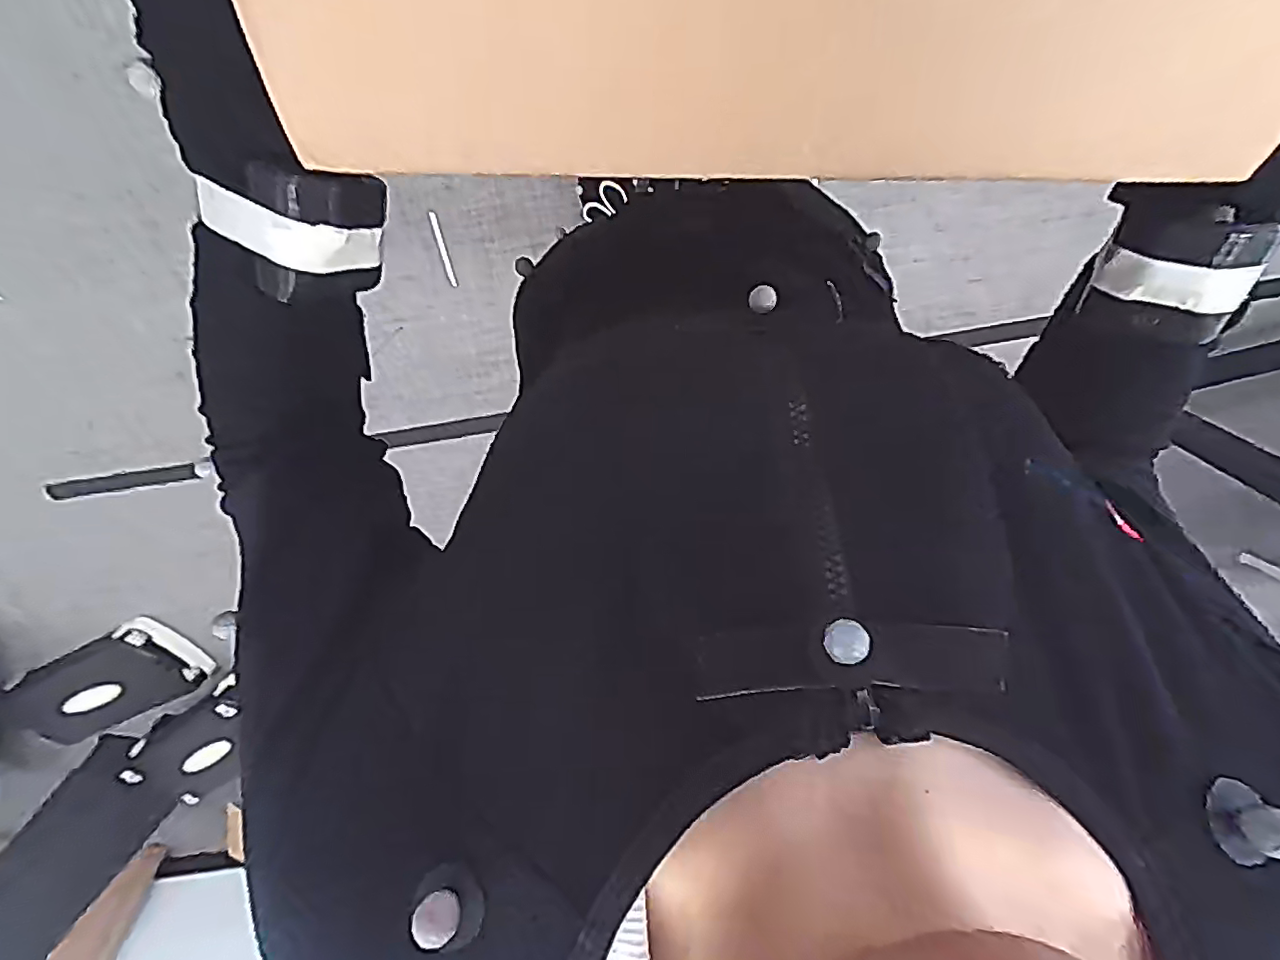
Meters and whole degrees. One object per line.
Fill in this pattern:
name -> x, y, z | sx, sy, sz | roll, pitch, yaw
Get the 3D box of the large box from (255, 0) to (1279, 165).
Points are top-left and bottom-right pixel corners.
large box -> 0.057, -0.355, 0.225 | 0.408, 0.320, 0.320 | 0, 137, -1
